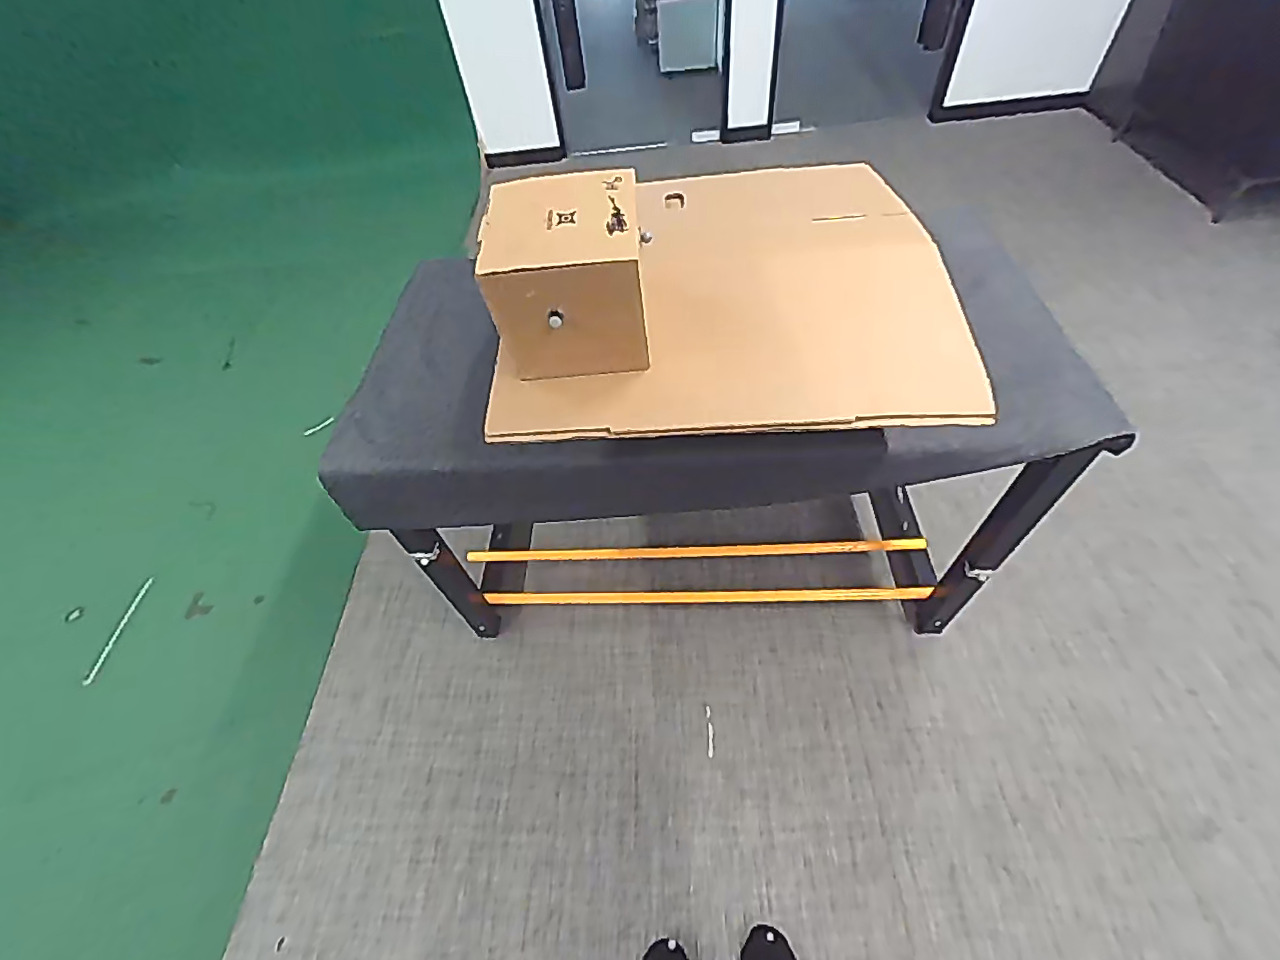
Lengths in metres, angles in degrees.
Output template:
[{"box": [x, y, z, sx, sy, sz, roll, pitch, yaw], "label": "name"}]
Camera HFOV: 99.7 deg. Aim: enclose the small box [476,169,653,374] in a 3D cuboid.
[{"box": [-0.081, -0.249, 0.673, 0.179, 0.176, 0.168, -5, 60, 4], "label": "small box"}]
